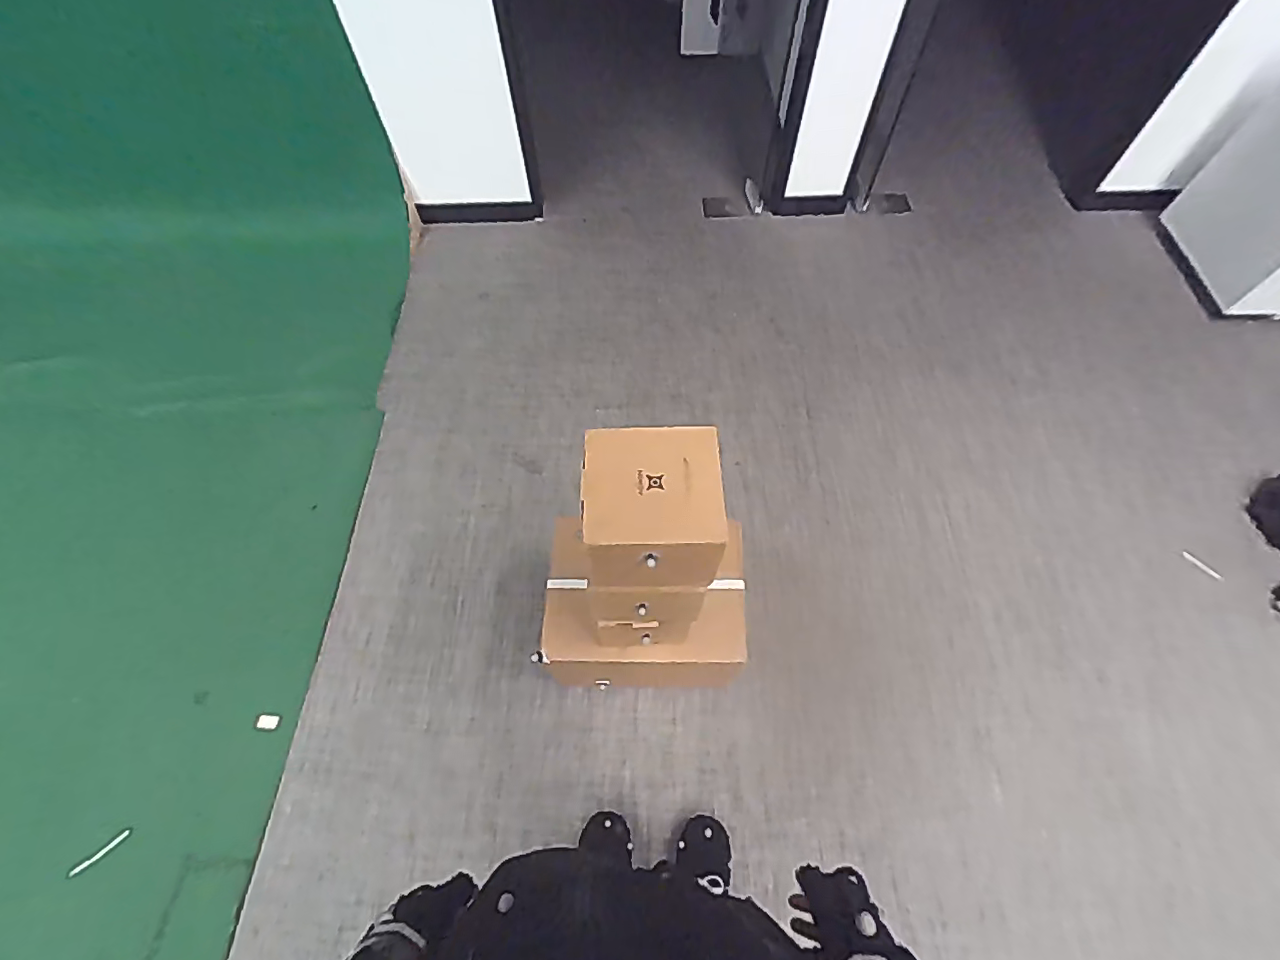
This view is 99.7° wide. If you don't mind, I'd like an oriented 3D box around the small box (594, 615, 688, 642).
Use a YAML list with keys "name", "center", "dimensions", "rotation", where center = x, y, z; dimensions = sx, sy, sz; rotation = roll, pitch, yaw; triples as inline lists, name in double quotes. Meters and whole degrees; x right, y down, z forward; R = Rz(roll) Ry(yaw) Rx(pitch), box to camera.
- name: "small box"
  center: [0.000, 0.206, 1.028]
  dimensions: [0.168, 0.176, 0.179]
  rotation: [-3, 62, -1]

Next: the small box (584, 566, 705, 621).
- name: "small box"
  center: [0.007, 0.128, 0.883]
  dimensions: [0.179, 0.176, 0.168]
  rotation: [-1, 61, 1]

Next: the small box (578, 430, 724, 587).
- name: "small box"
  center: [0.012, 0.045, 0.744]
  dimensions: [0.179, 0.176, 0.168]
  rotation: [-1, 63, -2]
